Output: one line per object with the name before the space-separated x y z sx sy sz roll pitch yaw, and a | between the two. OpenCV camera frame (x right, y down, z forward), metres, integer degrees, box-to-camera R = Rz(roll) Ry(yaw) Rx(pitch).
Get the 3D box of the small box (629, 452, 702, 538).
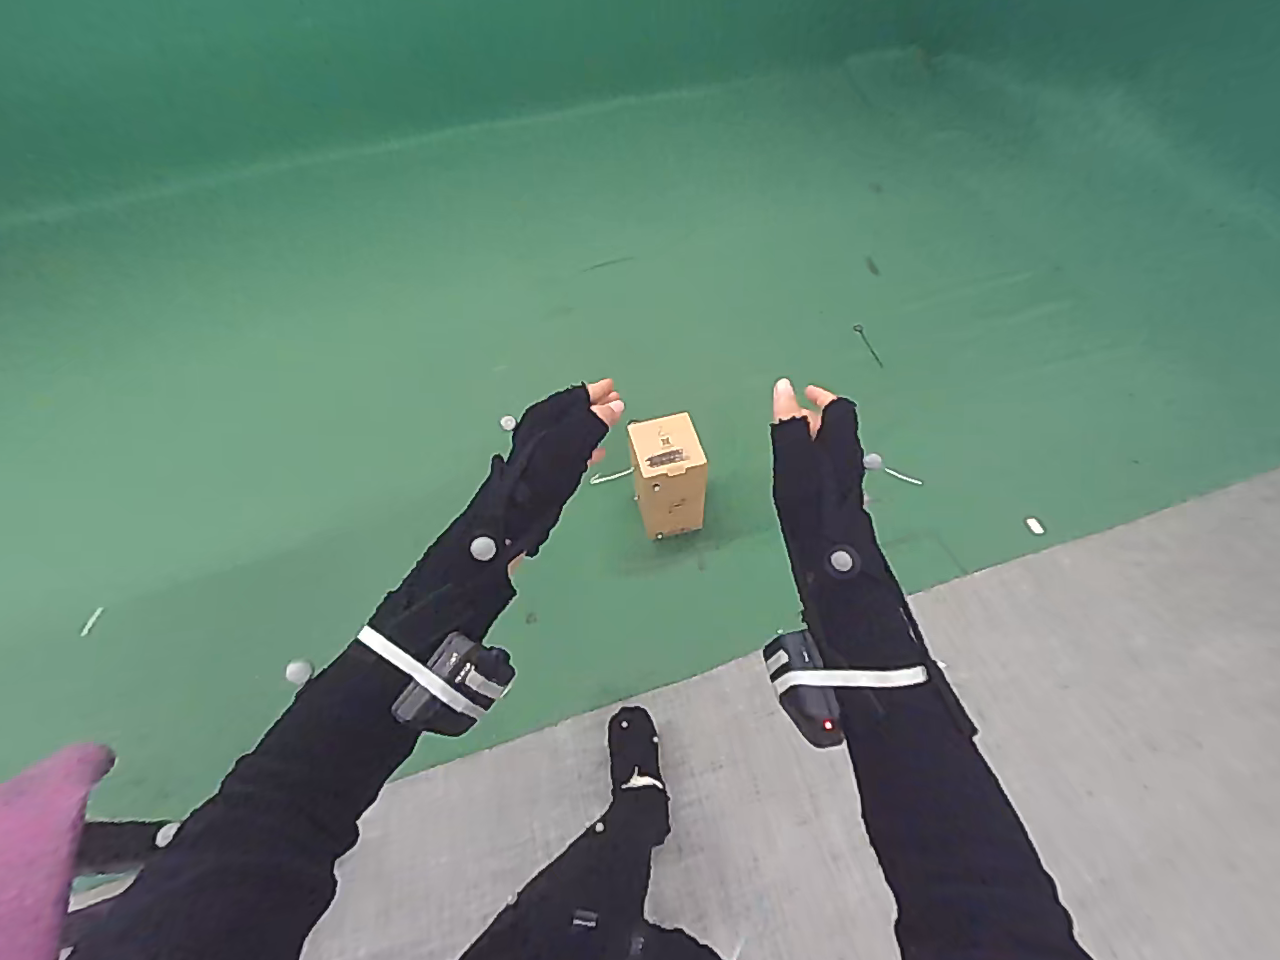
small box | 0.074 0.051 1.567 0.168 0.176 0.179 -15 59 -7
